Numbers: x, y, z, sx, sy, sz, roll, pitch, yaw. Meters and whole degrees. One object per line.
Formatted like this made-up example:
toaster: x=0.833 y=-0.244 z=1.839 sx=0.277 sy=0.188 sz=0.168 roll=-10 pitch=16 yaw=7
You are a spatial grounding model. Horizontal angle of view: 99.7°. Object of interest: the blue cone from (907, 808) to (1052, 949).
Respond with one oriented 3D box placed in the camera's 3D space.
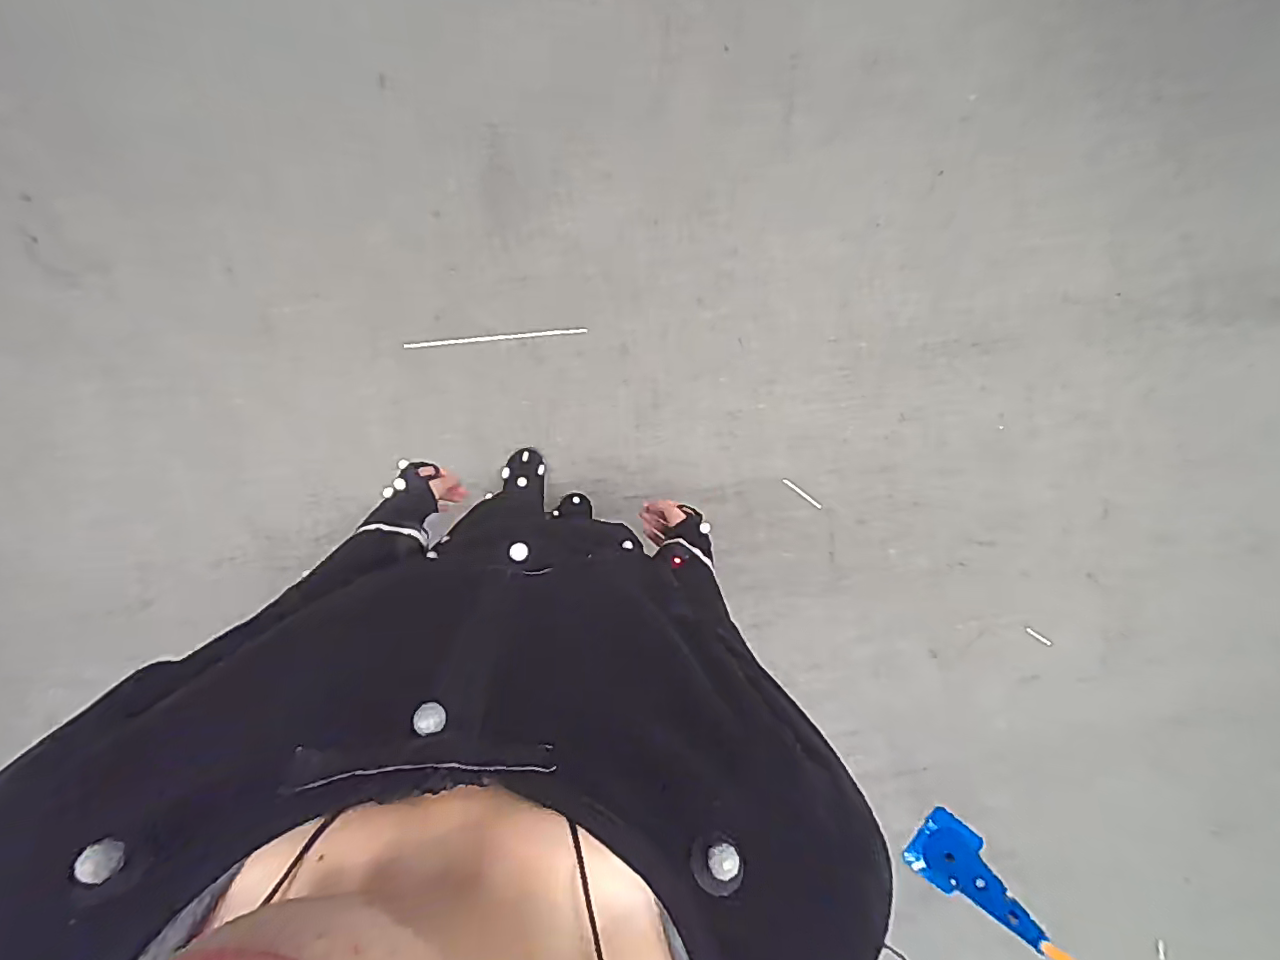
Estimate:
blue cone: x=0.928 y=1.095 z=1.461 sx=0.192 sy=0.380 sz=0.193 roll=38 pitch=83 yaw=-5
